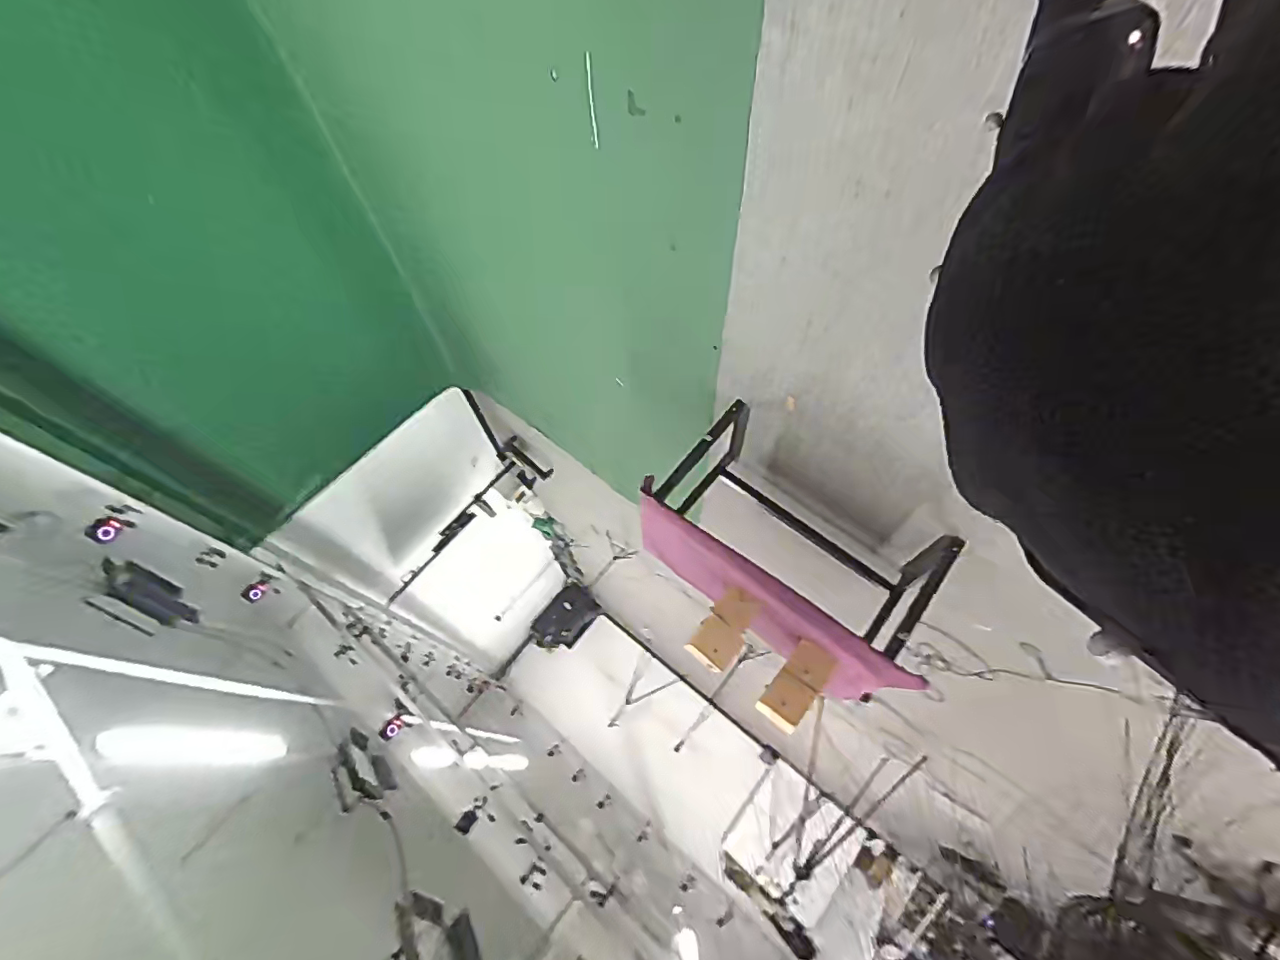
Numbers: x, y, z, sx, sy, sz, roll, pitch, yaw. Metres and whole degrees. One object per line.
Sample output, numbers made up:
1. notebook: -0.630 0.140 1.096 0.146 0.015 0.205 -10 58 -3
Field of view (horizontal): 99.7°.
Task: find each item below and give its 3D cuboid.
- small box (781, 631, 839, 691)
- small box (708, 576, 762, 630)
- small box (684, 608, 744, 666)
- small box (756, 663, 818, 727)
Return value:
1. small box: 0.708 0.768 2.277 0.179 0.176 0.168 34 158 22
2. small box: 0.415 0.553 2.381 0.168 0.176 0.179 36 160 16
3. small box: 0.319 0.673 2.321 0.179 0.176 0.168 40 161 6
4. small box: 0.602 0.876 2.221 0.179 0.176 0.168 32 157 24
